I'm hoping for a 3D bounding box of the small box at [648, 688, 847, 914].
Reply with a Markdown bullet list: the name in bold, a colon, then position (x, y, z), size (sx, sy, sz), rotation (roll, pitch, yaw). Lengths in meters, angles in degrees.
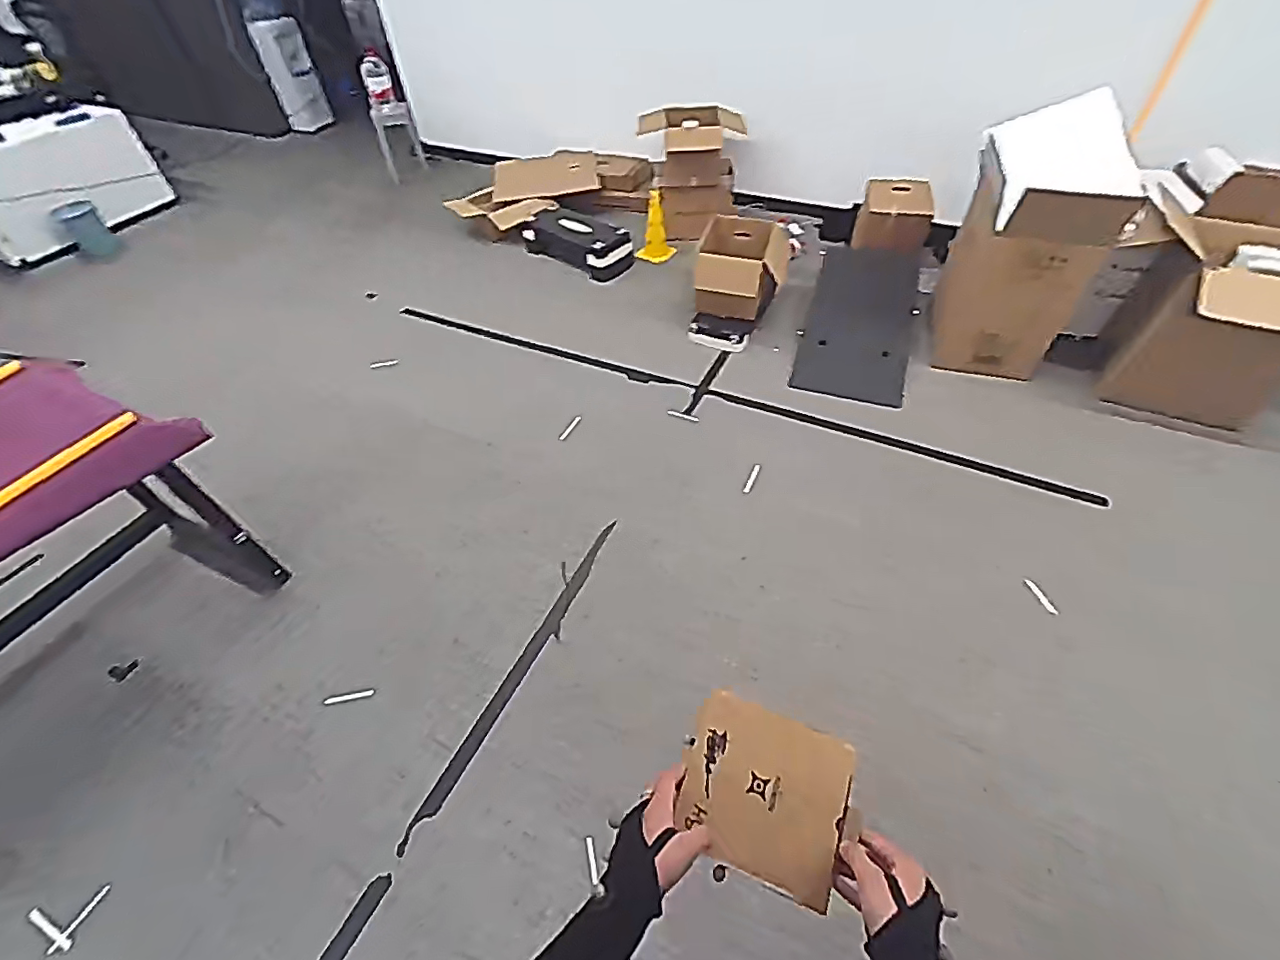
- **small box**: position (0.122, 0.380, 0.659), size (0.179, 0.176, 0.168), rotation (21, 60, 9)
